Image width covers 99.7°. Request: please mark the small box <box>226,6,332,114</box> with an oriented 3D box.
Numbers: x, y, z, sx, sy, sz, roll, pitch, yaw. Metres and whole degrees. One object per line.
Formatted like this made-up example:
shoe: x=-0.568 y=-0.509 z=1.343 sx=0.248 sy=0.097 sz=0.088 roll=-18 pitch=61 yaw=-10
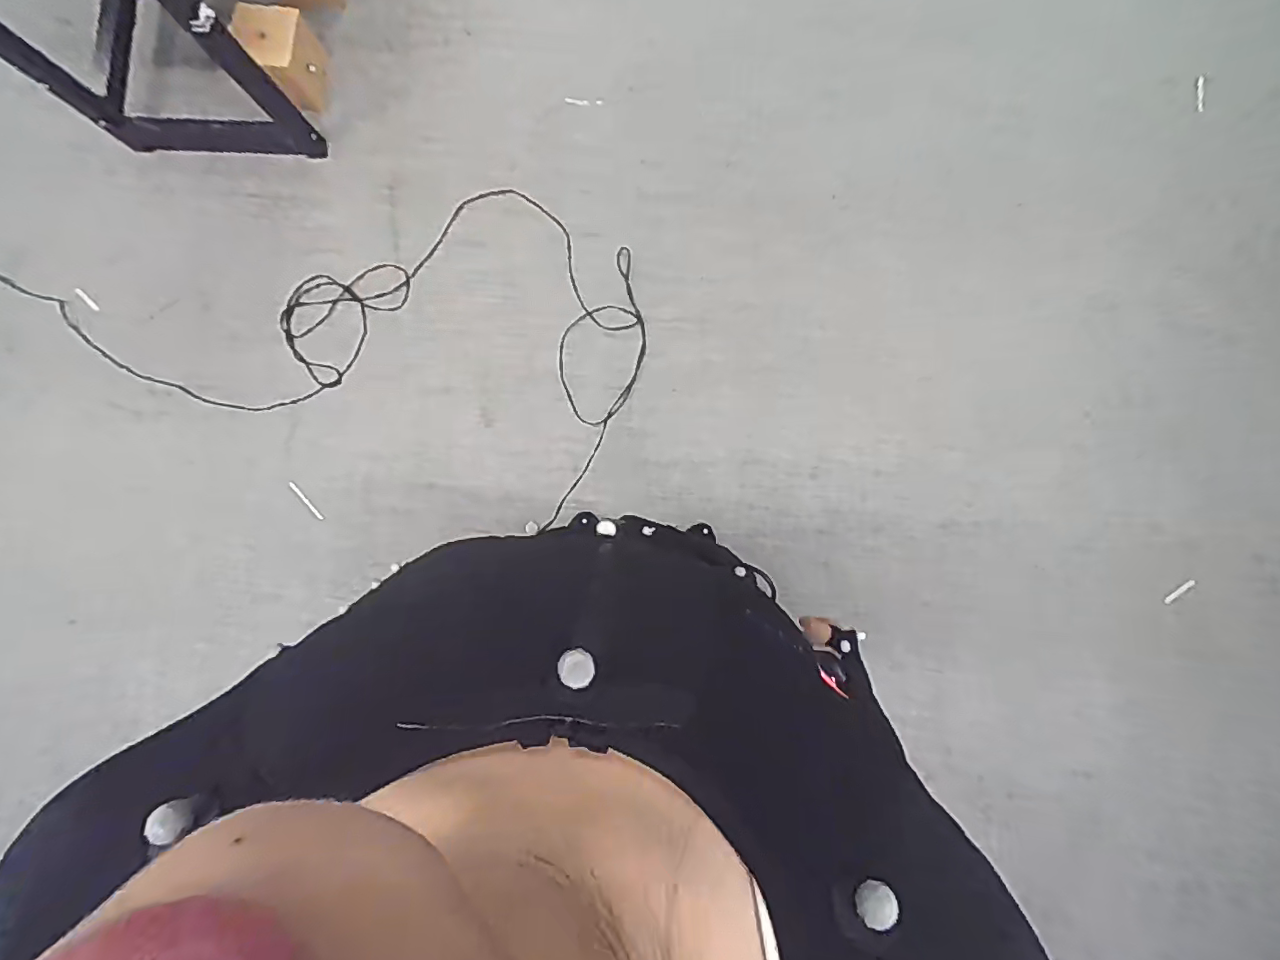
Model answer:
small box: x=-0.998 y=-1.162 z=1.509 sx=0.179 sy=0.176 sz=0.168 roll=7 pitch=87 yaw=1
